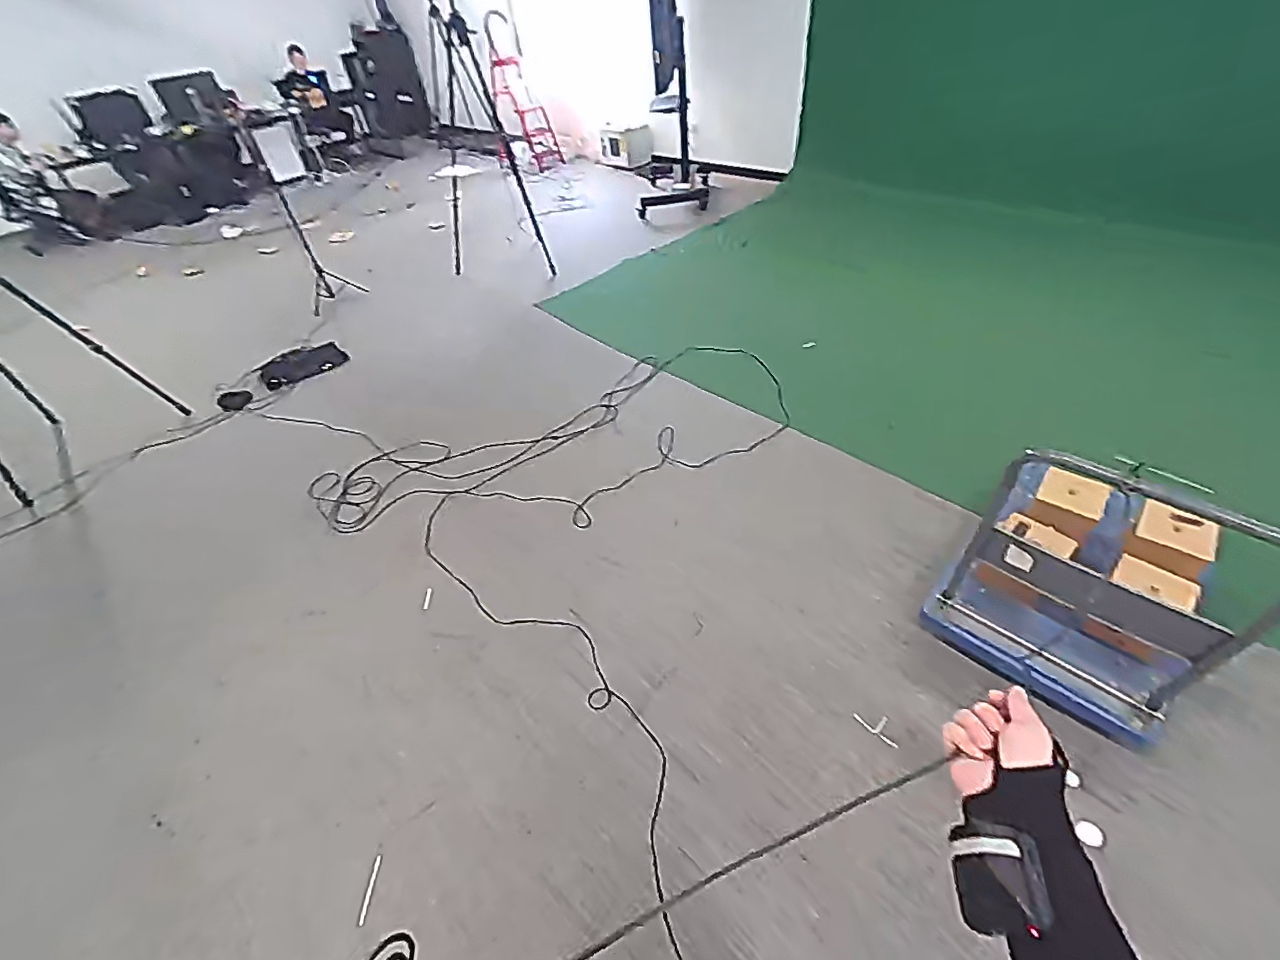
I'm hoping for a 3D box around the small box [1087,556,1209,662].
[{"bbox_3d":[1.338,0.342,1.434,0.179,0.176,0.168,-38,51,-26],"label":"small box"}]

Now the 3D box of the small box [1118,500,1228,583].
[{"bbox_3d":[1.527,0.195,1.558,0.168,0.176,0.179,27,55,33],"label":"small box"}]

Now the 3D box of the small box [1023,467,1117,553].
[{"bbox_3d":[1.338,0.097,1.691,0.168,0.176,0.179,28,54,32],"label":"small box"}]
